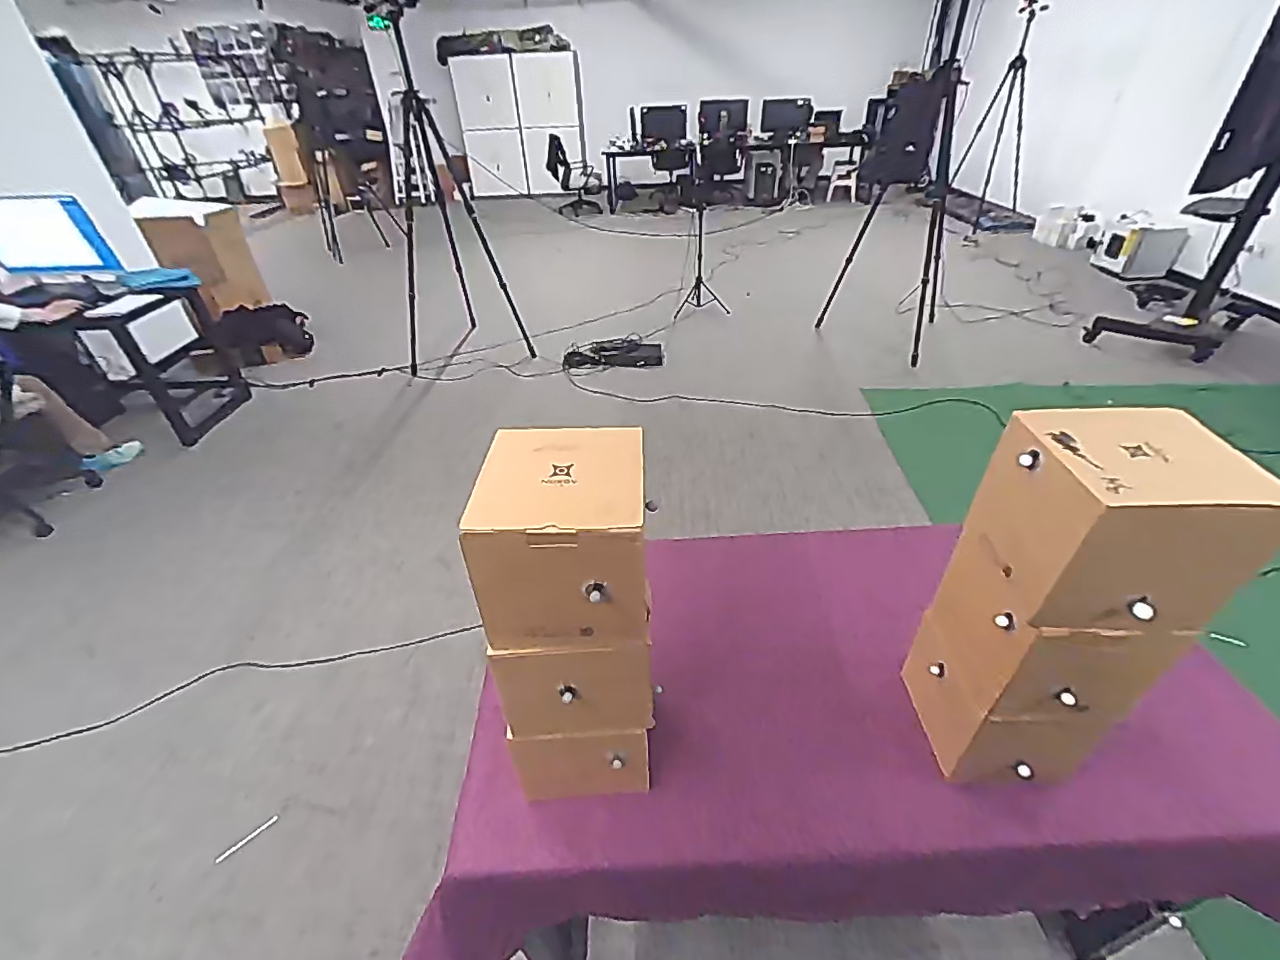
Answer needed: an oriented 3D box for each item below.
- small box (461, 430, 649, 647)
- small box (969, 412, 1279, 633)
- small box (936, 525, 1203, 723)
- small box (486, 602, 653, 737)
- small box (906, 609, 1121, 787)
[{"bbox_3d":[-0.074,0.062,0.584,0.168,0.176,0.179,0,36,0],"label":"small box"},{"bbox_3d":[0.492,0.044,0.570,0.179,0.176,0.168,1,37,4],"label":"small box"},{"bbox_3d":[0.500,0.174,0.670,0.168,0.176,0.179,-1,38,2],"label":"small box"},{"bbox_3d":[-0.076,0.198,0.675,0.179,0.176,0.168,-4,37,-1],"label":"small box"},{"bbox_3d":[0.504,0.304,0.768,0.168,0.176,0.179,-1,37,3],"label":"small box"}]
